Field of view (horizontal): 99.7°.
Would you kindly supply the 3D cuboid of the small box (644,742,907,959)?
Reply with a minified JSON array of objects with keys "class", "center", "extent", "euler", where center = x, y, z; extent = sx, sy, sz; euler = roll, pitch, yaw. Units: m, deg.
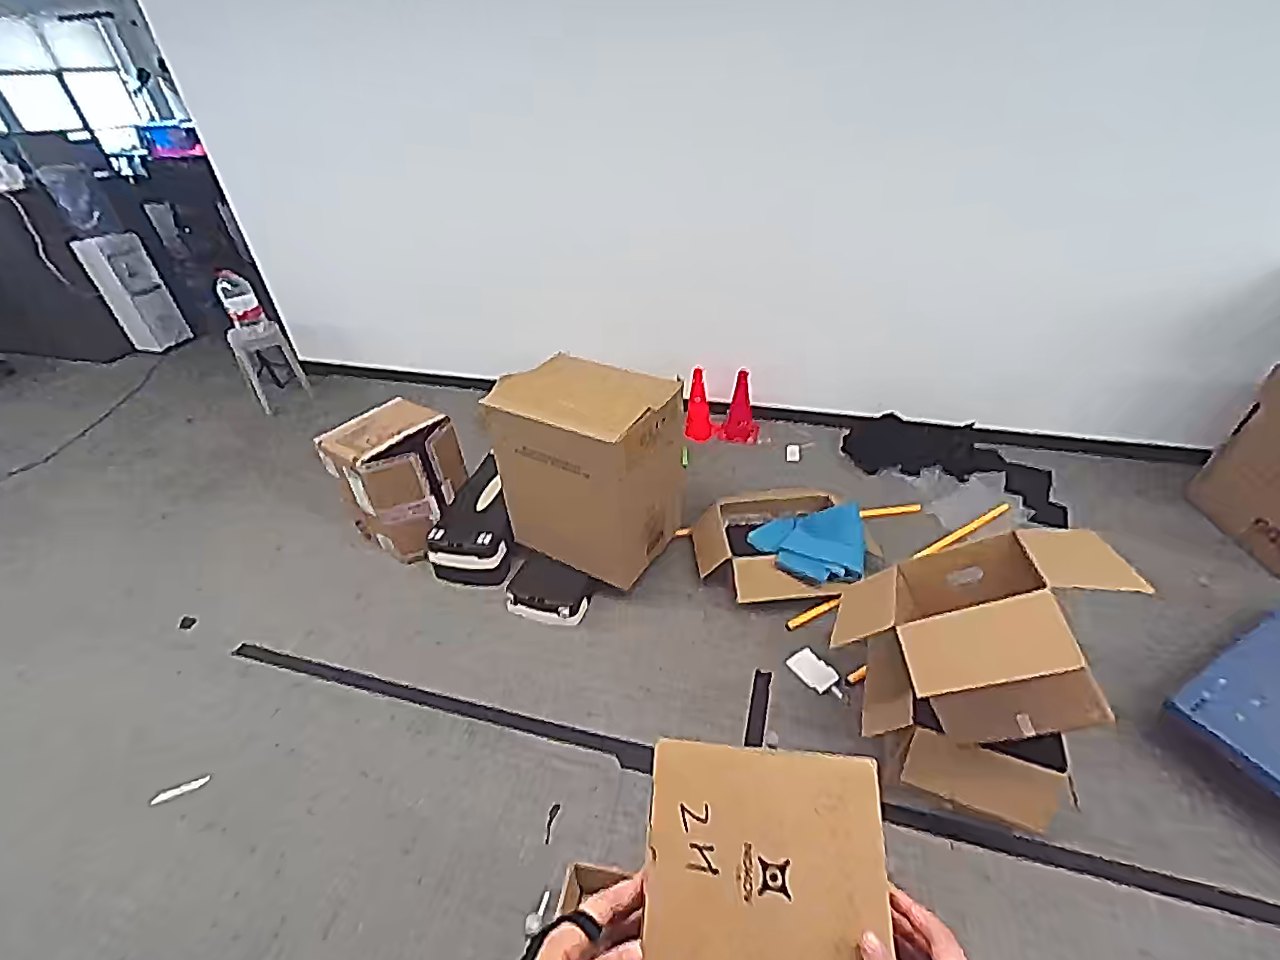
[{"class":"small box","center":[0.107,0.324,0.455],"extent":[0.179,0.176,0.168],"euler":[0,61,12]}]
